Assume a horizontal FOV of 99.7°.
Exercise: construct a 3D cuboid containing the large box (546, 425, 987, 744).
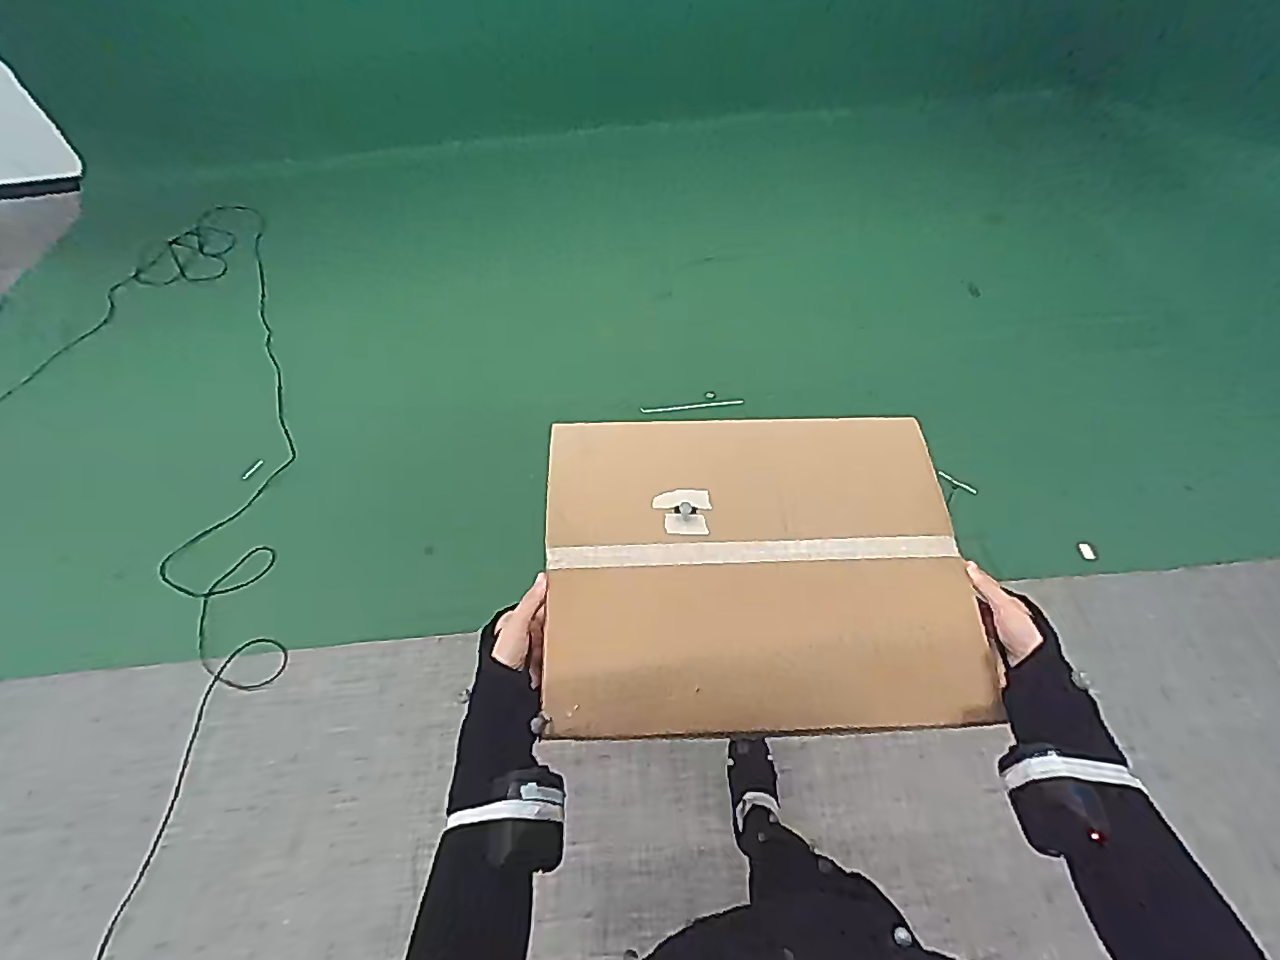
[{"bbox_3d":[0.110,0.149,0.677,0.408,0.320,0.320,-2,63,-1],"label":"large box"}]
